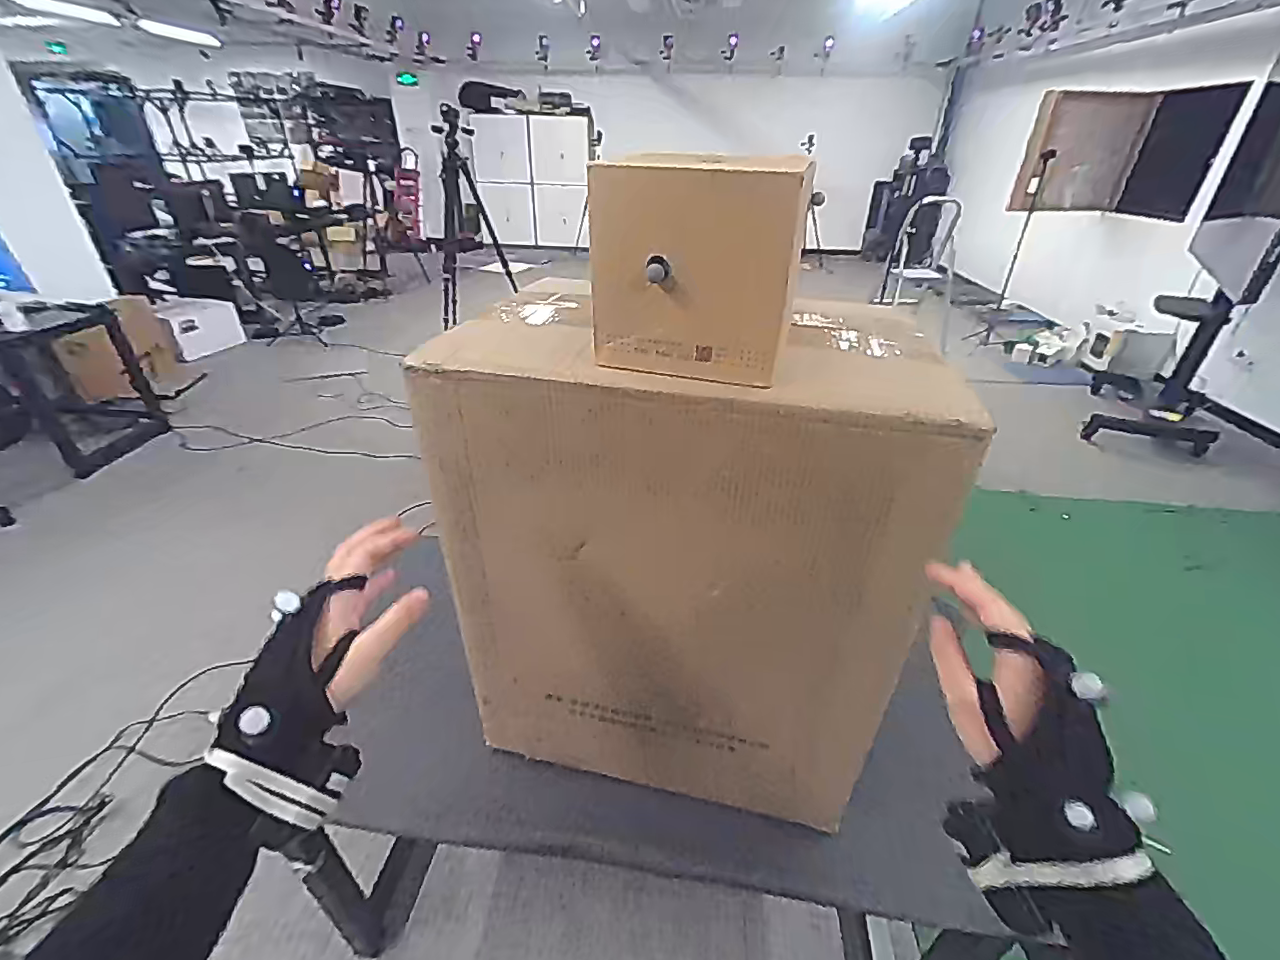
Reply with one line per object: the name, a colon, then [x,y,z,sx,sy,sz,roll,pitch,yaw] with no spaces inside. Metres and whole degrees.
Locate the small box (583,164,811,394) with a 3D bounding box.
small box: [0.058,-0.194,0.509,0.168,0.176,0.179,10,35,14]
